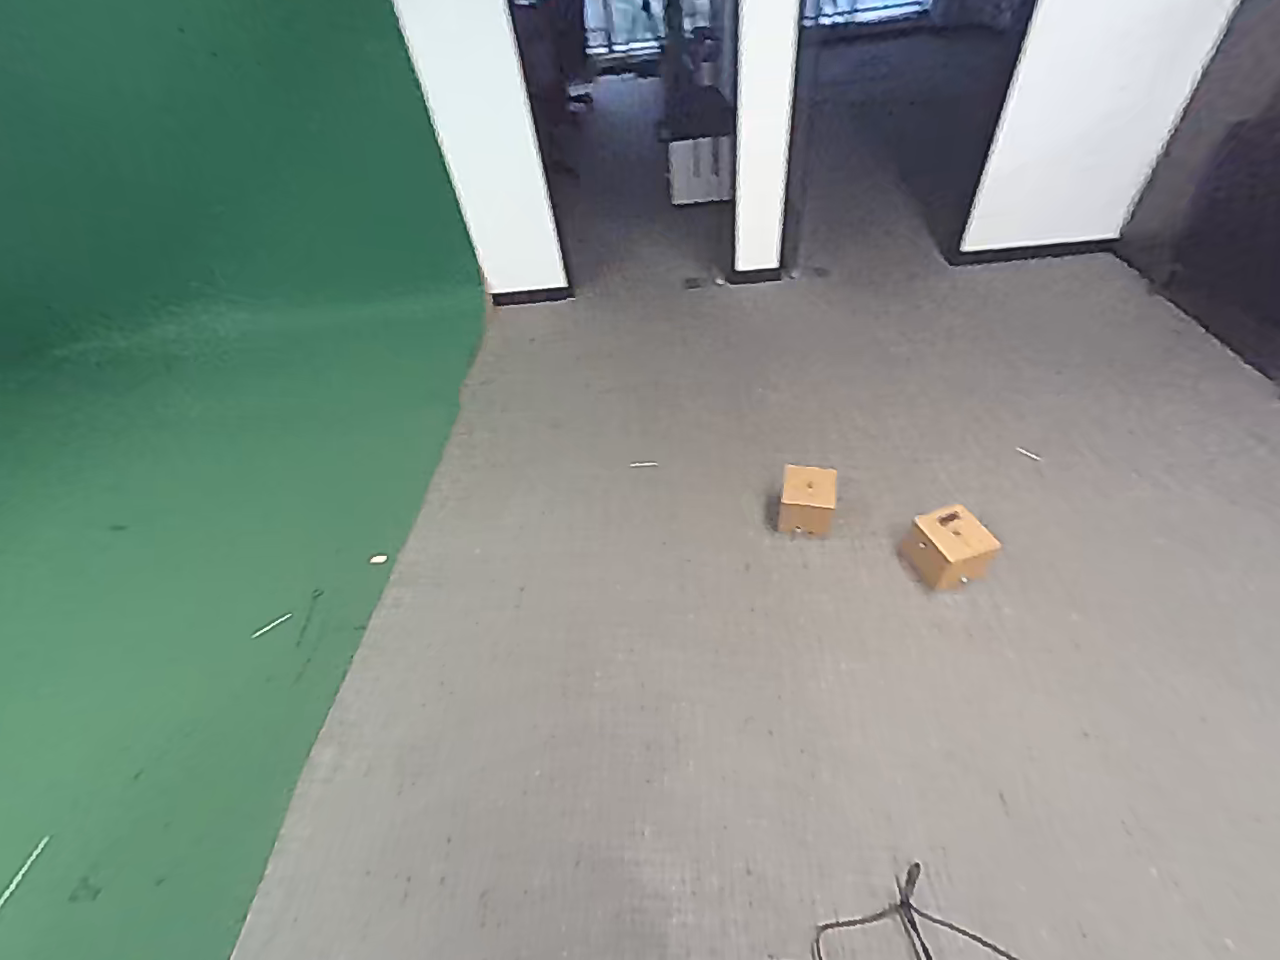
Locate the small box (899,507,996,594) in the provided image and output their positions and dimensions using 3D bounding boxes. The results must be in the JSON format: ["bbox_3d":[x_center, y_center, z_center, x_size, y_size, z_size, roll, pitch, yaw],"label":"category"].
[{"bbox_3d":[0.923,0.215,1.645,0.168,0.176,0.179,-16,46,-7],"label":"small box"}]

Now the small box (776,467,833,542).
[{"bbox_3d":[0.554,0.083,1.829,0.168,0.176,0.179,7,47,15],"label":"small box"}]
